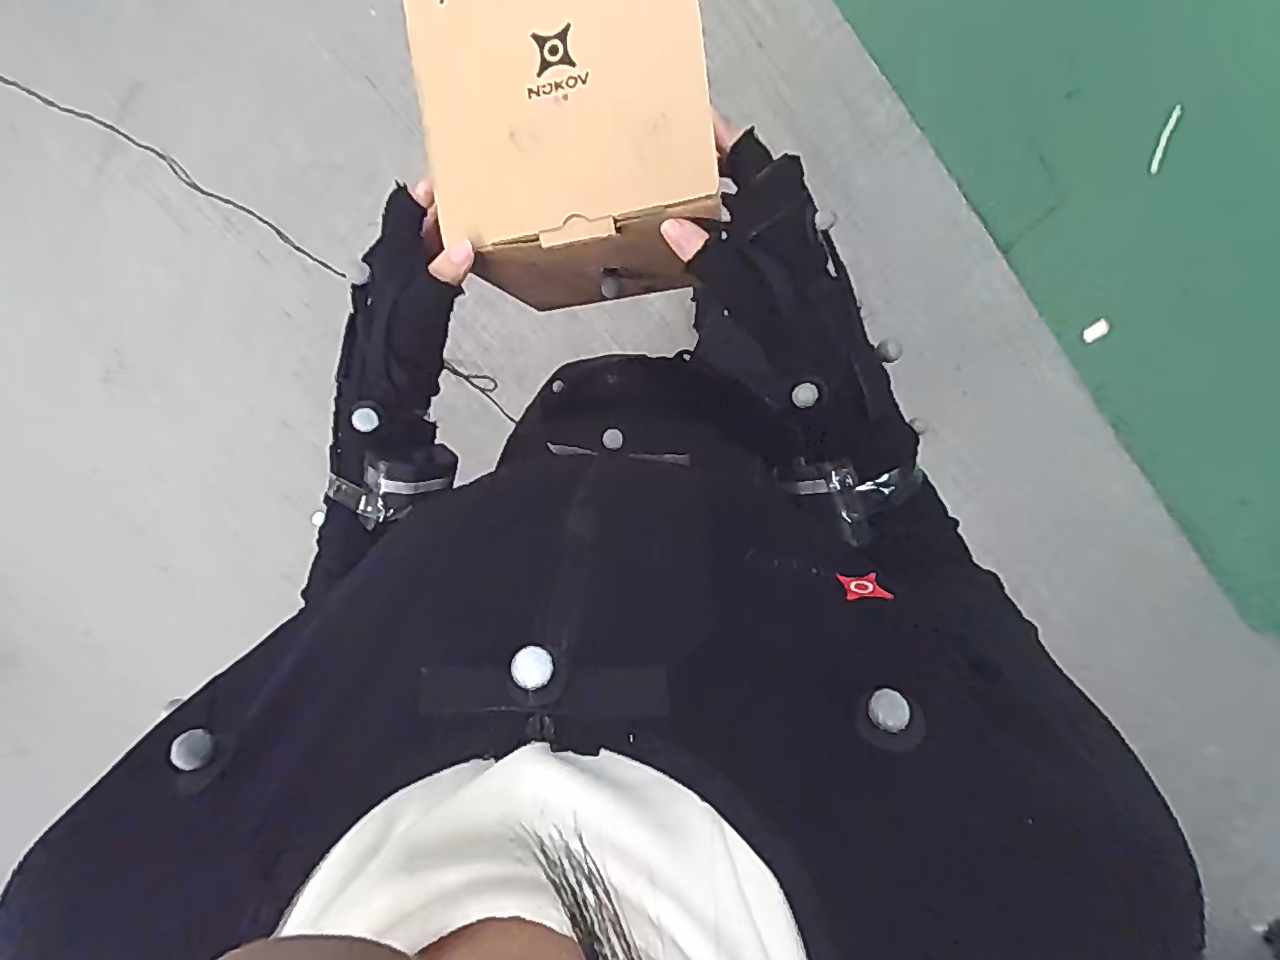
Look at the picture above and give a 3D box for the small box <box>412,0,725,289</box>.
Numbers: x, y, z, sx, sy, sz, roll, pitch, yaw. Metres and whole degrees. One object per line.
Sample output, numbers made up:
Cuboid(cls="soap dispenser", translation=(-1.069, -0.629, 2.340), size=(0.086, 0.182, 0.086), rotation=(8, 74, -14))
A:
Cuboid(cls="small box", translation=(-0.032, -0.246, 0.385), size=(0.168, 0.176, 0.179), rotation=(-7, 95, 11))
